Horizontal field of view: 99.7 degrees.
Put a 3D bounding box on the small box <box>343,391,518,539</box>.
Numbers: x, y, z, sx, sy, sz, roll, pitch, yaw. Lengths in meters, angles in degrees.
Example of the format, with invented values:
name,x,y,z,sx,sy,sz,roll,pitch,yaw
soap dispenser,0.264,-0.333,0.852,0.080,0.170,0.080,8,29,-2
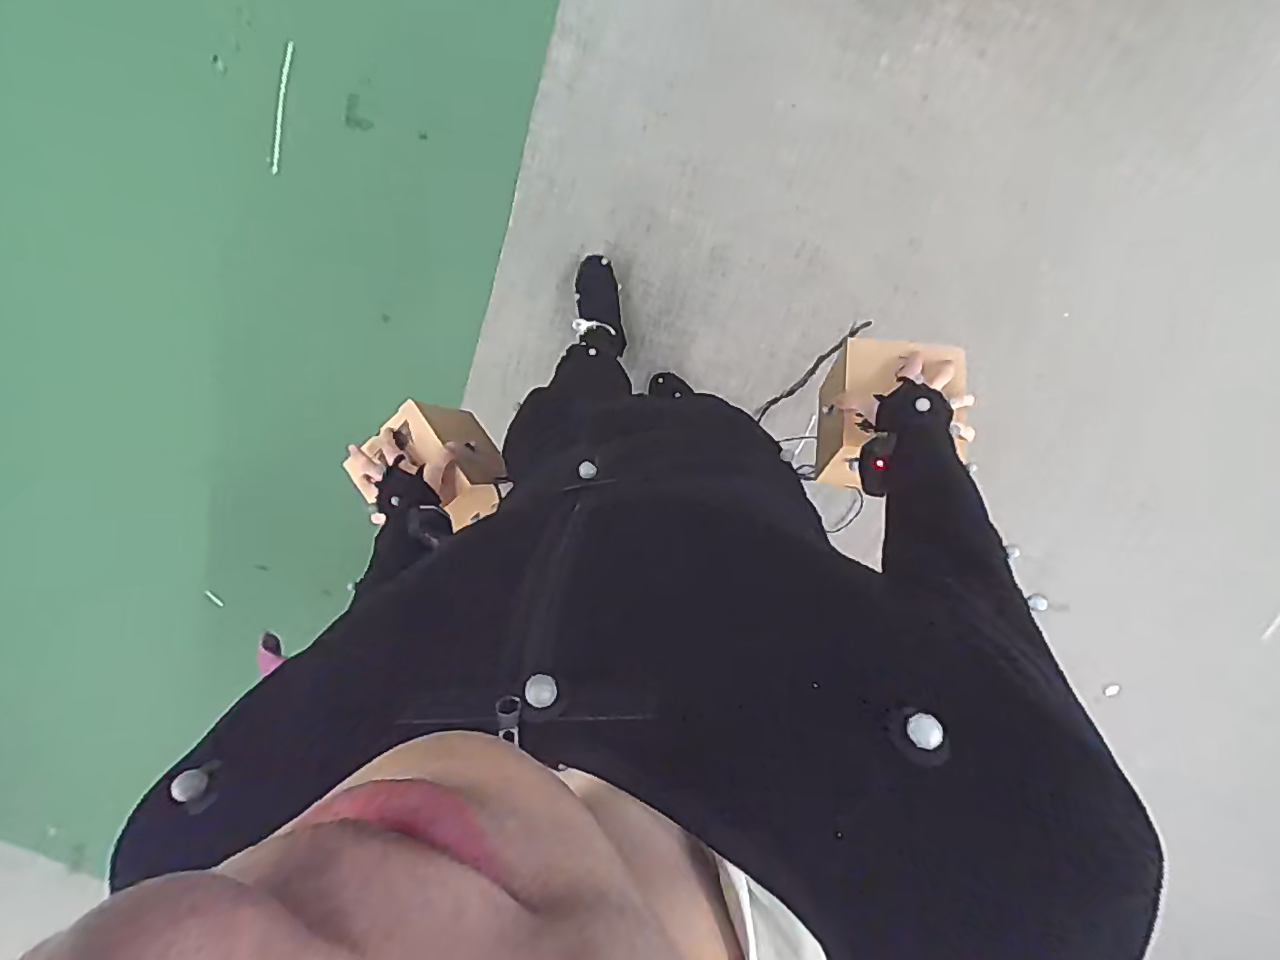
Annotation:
name,x,y,z,sx,sy,sz,roll,pitch,yaw
small box,-0.343,-0.021,0.912,0.168,0.176,0.179,-39,81,12
